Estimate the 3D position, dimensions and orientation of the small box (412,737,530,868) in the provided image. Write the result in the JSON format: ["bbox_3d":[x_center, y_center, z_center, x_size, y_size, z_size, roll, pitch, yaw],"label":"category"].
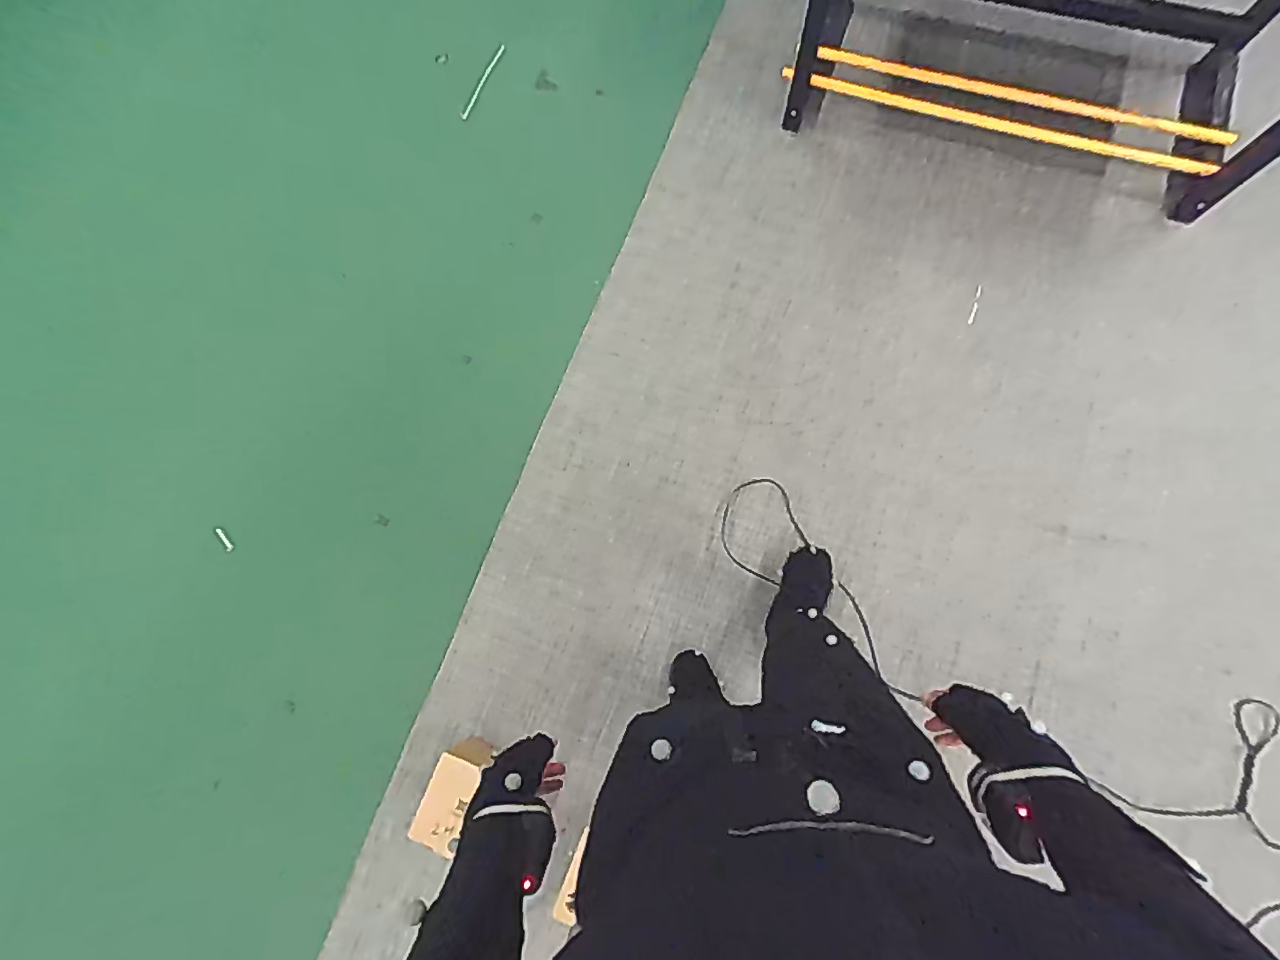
[{"bbox_3d":[-0.356,0.691,1.184,0.168,0.176,0.179,19,77,9],"label":"small box"}]
